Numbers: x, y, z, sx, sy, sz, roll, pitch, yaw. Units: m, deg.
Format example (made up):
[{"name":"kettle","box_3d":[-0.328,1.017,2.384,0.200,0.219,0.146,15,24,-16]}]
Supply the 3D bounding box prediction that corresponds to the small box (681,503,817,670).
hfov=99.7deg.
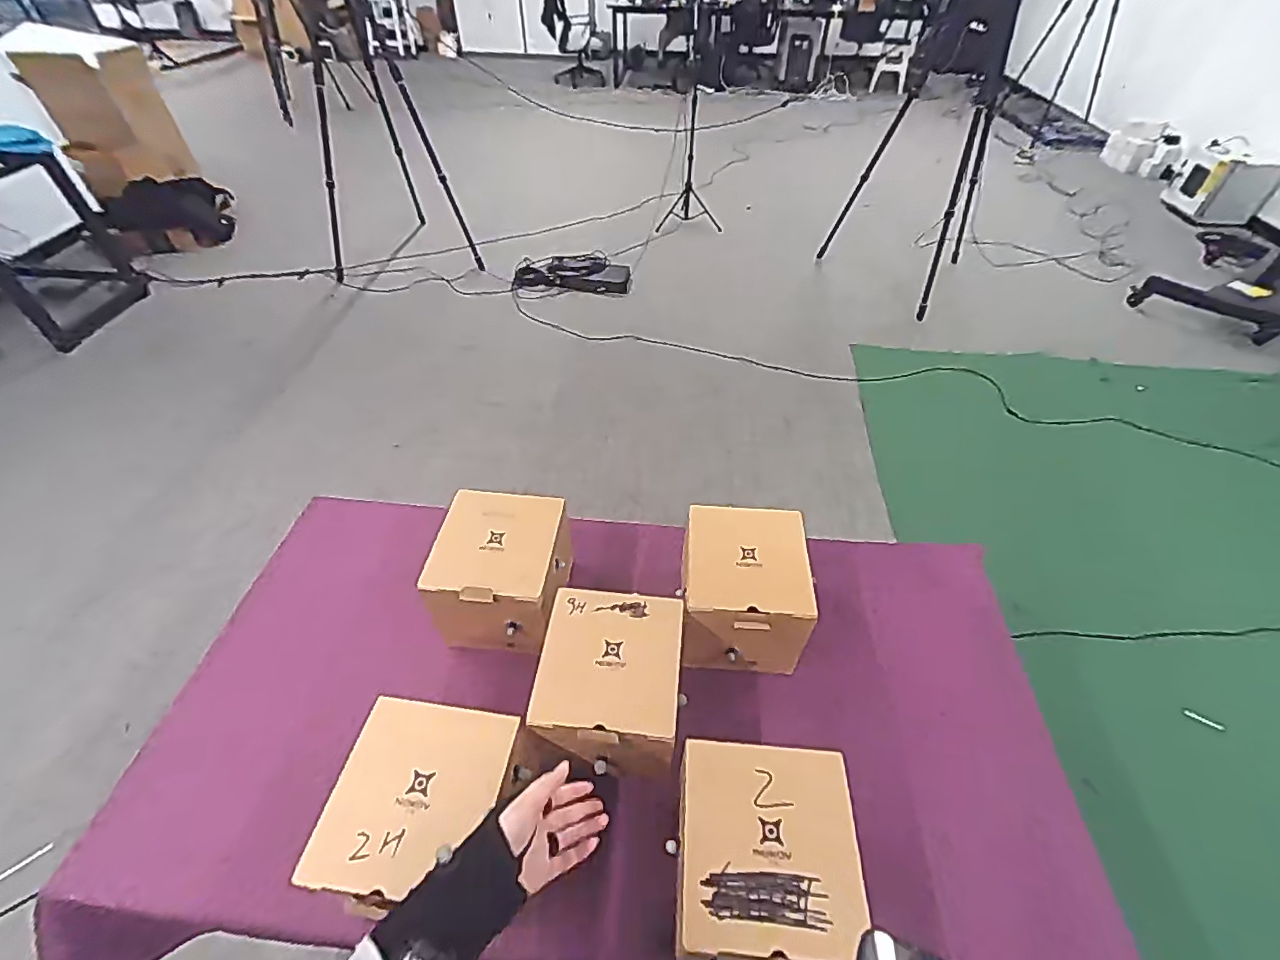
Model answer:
[{"name":"small box","box_3d":[0.148,0.157,0.799,0.168,0.176,0.179,3,48,2]}]

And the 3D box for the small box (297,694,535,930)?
[{"name":"small box","box_3d":[-0.222,0.366,0.597,0.168,0.176,0.179,6,47,6]}]

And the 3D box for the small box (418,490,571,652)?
[{"name":"small box","box_3d":[-0.201,0.140,0.813,0.168,0.176,0.179,5,47,3]}]
